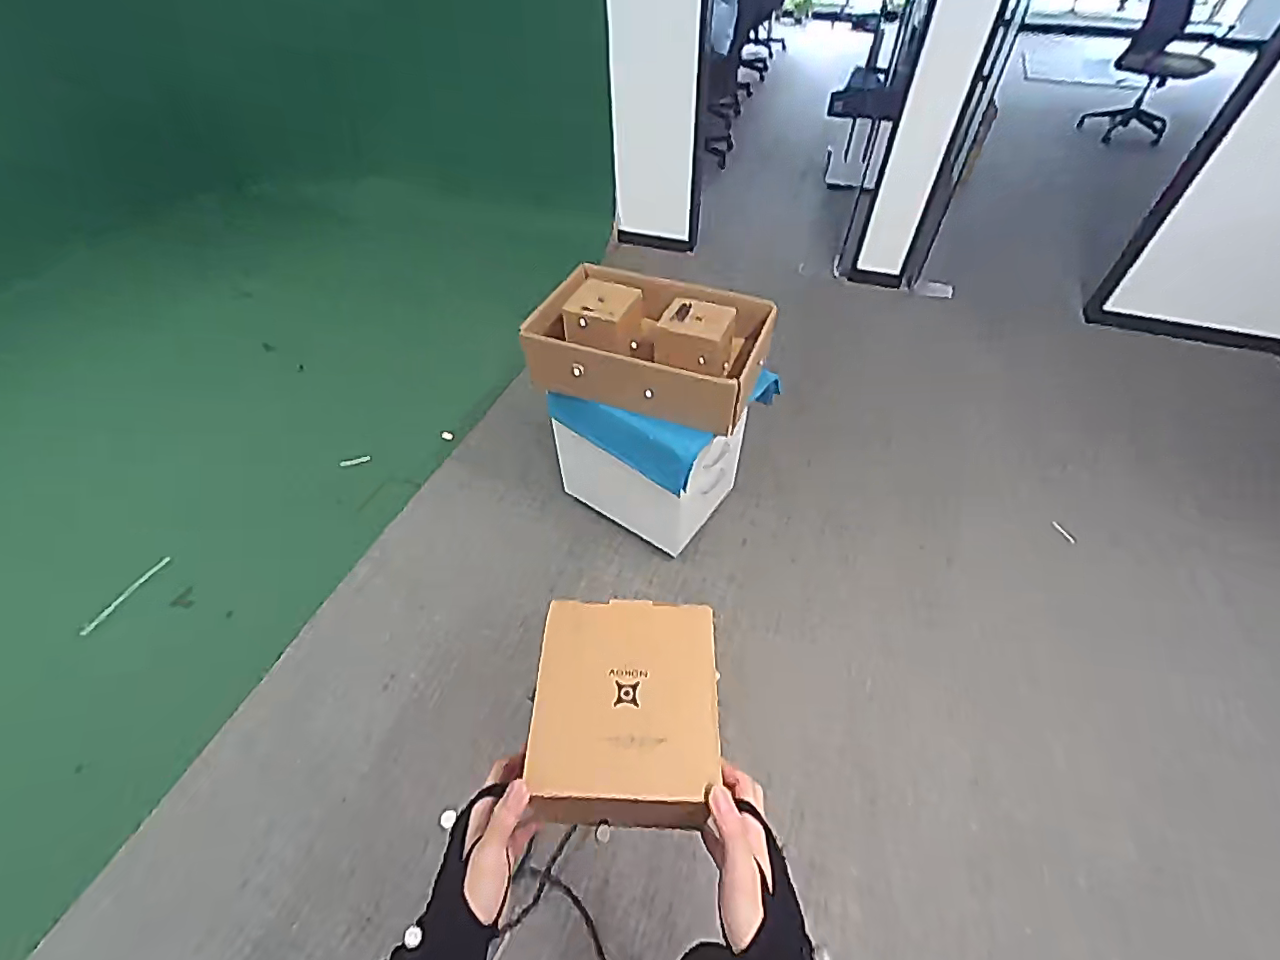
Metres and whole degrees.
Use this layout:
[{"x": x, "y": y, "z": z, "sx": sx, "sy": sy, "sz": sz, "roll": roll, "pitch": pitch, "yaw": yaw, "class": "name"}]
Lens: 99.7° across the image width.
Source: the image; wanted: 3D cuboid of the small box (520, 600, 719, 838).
[{"x": -0.016, "y": 0.244, "z": 0.551, "sx": 0.168, "sy": 0.176, "sz": 0.179, "roll": 3, "pitch": 49, "yaw": 1, "class": "small box"}]

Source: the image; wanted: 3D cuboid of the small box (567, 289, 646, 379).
[{"x": -0.093, "y": -0.417, "z": 1.548, "sx": 0.168, "sy": 0.176, "sz": 0.179, "roll": 17, "pitch": 49, "yaw": 15, "class": "small box"}]
